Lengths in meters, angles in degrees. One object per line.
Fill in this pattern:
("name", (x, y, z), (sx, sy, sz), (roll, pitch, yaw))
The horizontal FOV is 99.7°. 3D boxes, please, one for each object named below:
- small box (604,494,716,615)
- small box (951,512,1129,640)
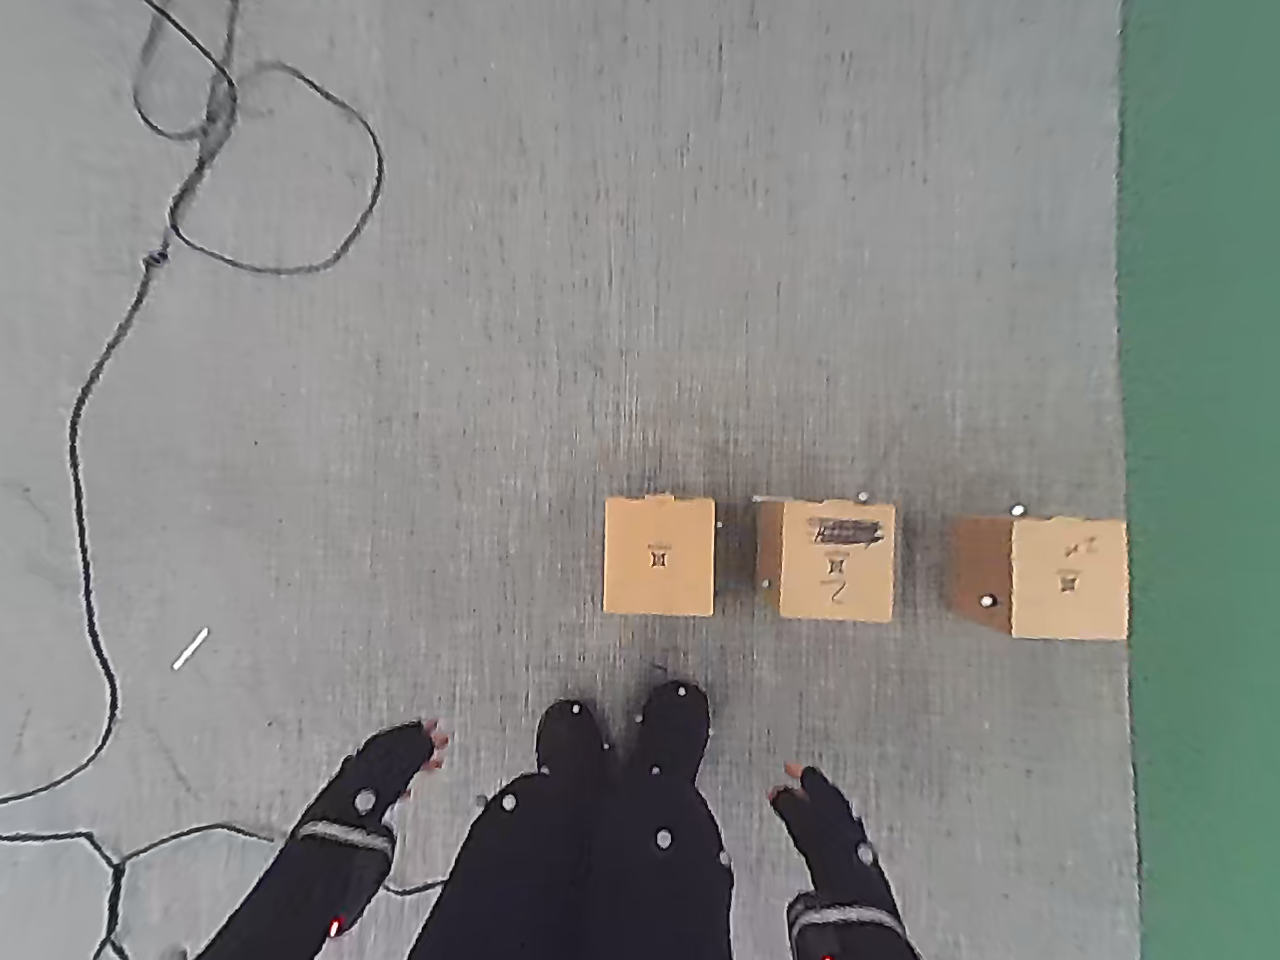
("small box", (0.034, 0.113, 0.882), (0.168, 0.176, 0.179), (1, 87, 2))
("small box", (0.623, 0.144, 0.861), (0.168, 0.176, 0.179), (1, 88, 1))
